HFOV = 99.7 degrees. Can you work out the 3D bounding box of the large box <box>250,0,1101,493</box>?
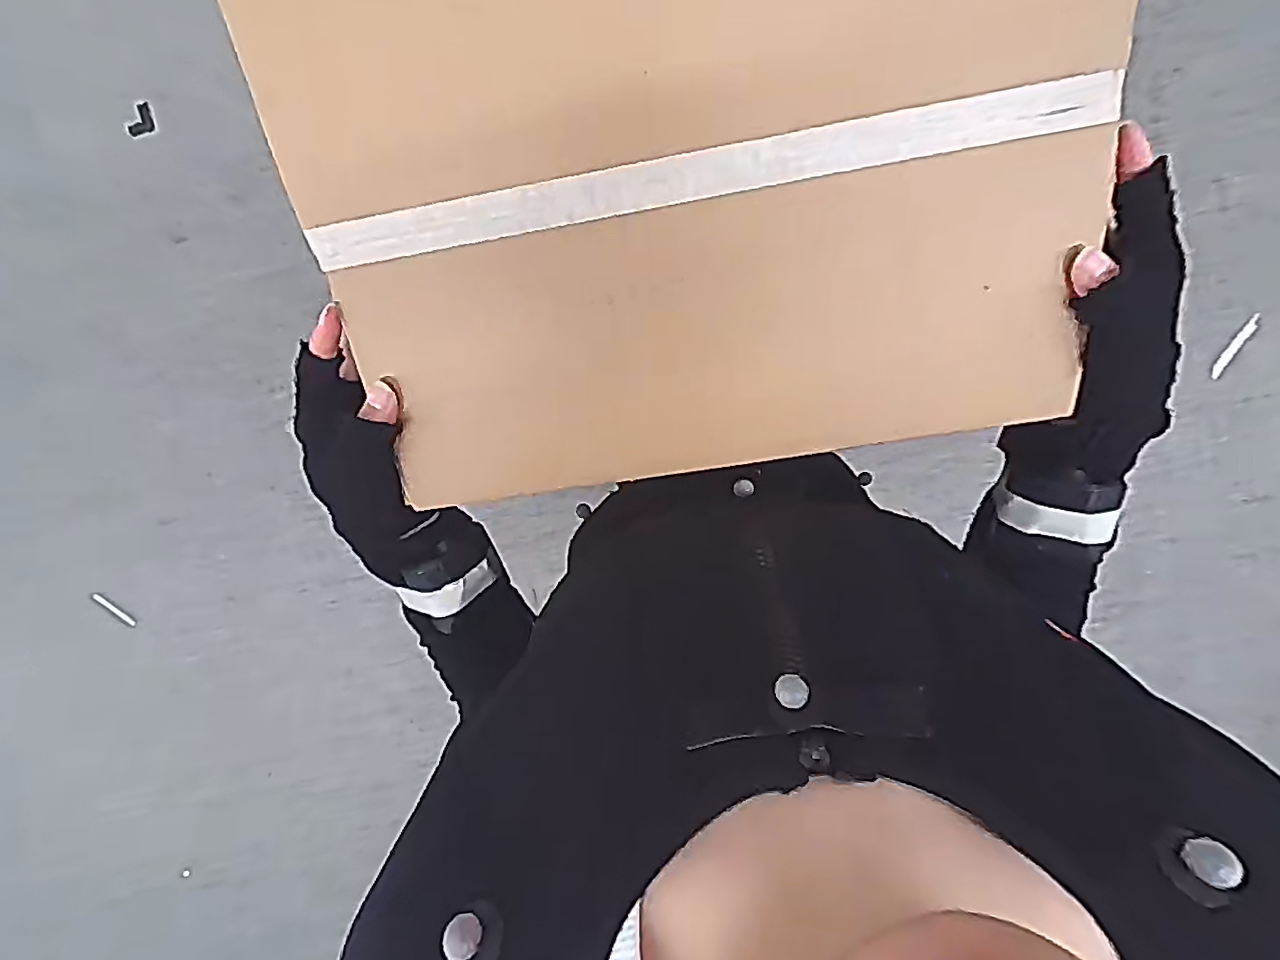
[{"bbox_3d":[0.027,-0.216,0.423,0.408,0.320,0.320,-9,113,4],"label":"large box"}]
